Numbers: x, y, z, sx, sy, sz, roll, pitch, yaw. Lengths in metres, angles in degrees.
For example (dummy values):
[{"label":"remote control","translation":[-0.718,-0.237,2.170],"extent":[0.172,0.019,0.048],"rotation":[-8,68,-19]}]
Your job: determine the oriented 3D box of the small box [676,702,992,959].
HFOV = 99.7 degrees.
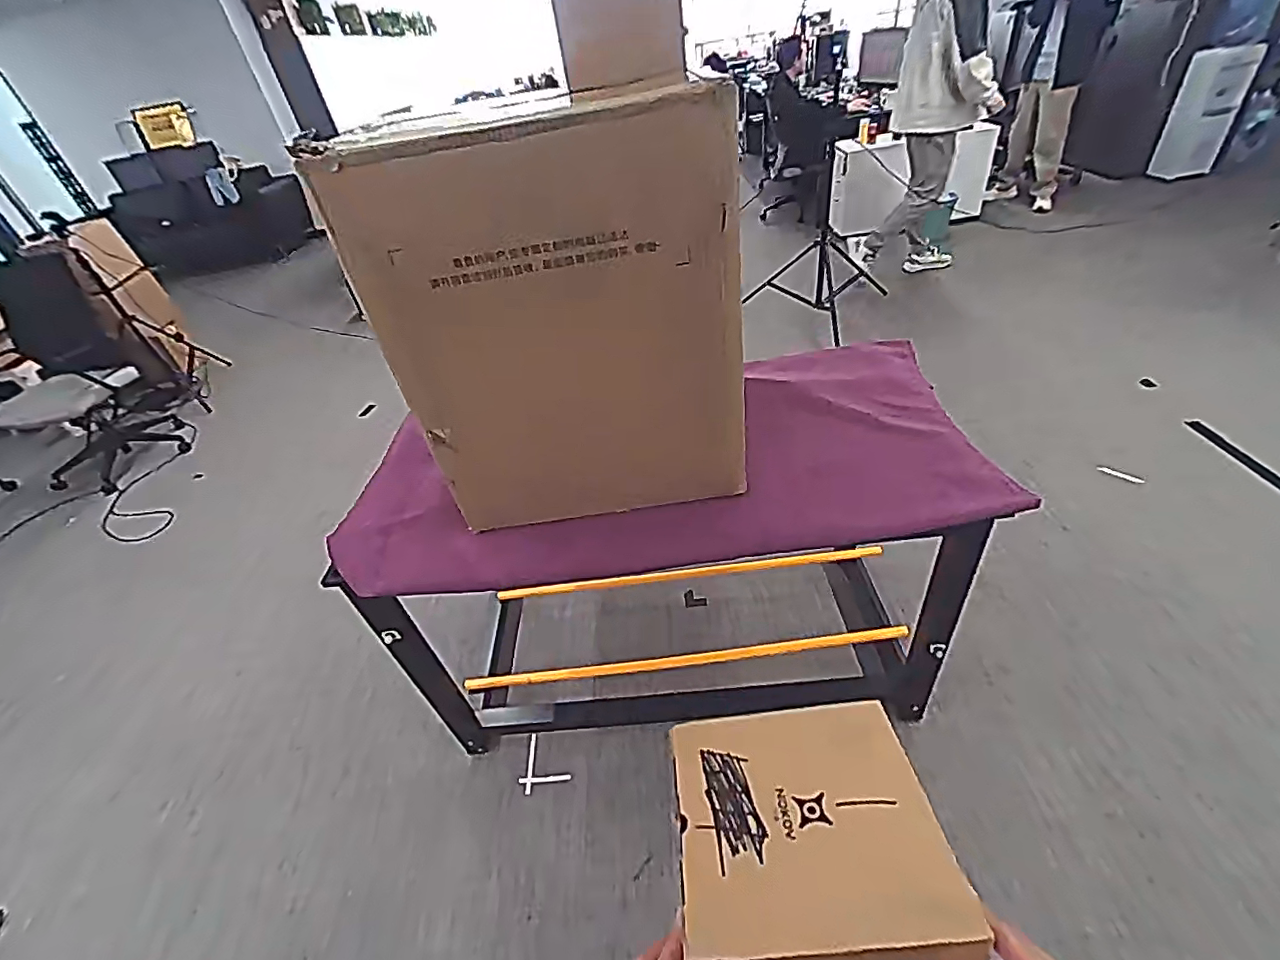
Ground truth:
[{"label":"small box","translation":[0.130,0.303,0.413],"extent":[0.179,0.176,0.168],"rotation":[-9,26,4]}]
